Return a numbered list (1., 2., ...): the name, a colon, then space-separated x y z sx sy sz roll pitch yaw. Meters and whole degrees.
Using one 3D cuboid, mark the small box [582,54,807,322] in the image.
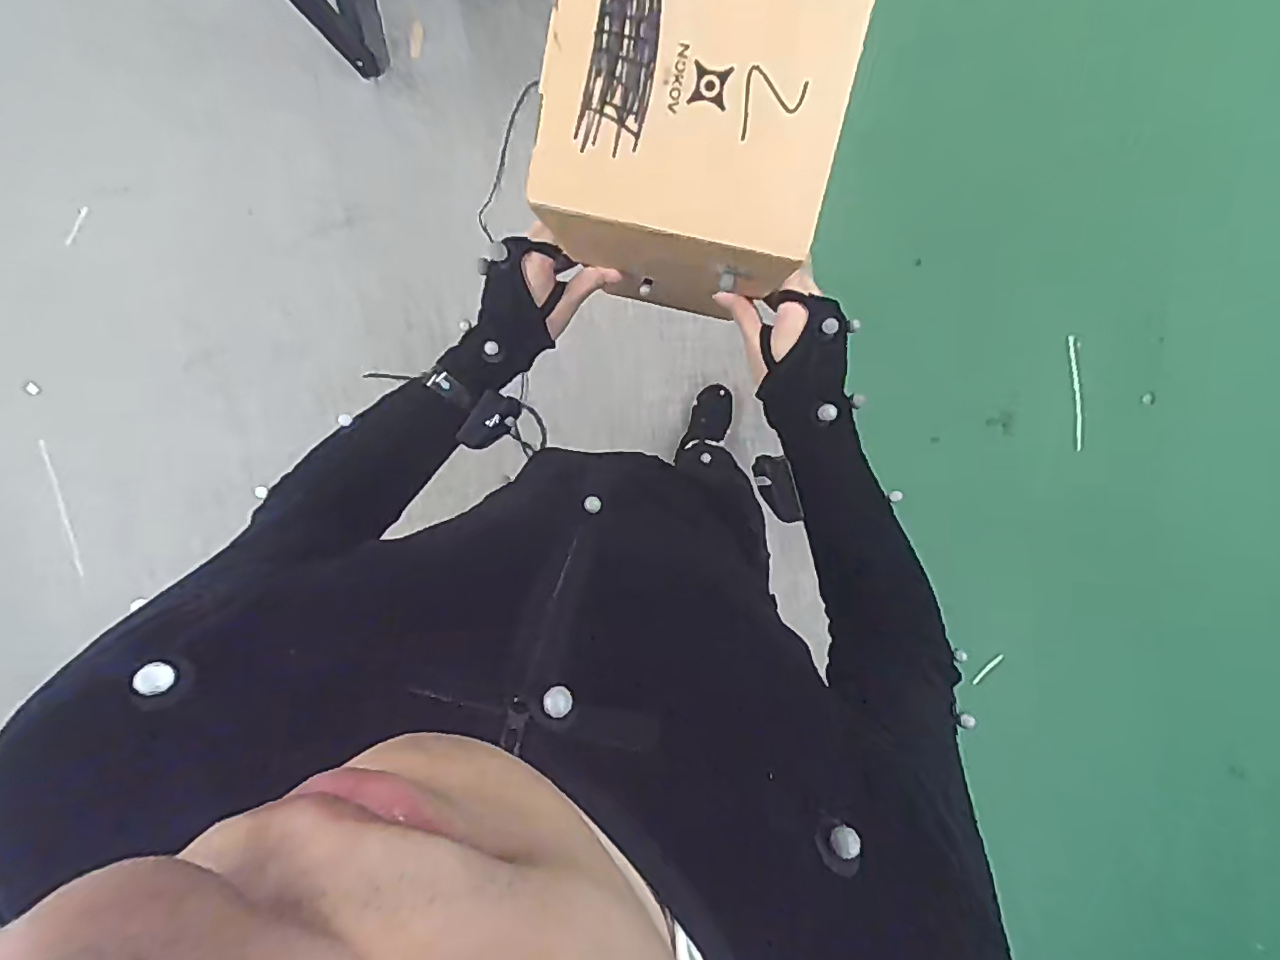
1. small box: 0.049 -0.272 0.548 0.168 0.176 0.179 13 100 1
